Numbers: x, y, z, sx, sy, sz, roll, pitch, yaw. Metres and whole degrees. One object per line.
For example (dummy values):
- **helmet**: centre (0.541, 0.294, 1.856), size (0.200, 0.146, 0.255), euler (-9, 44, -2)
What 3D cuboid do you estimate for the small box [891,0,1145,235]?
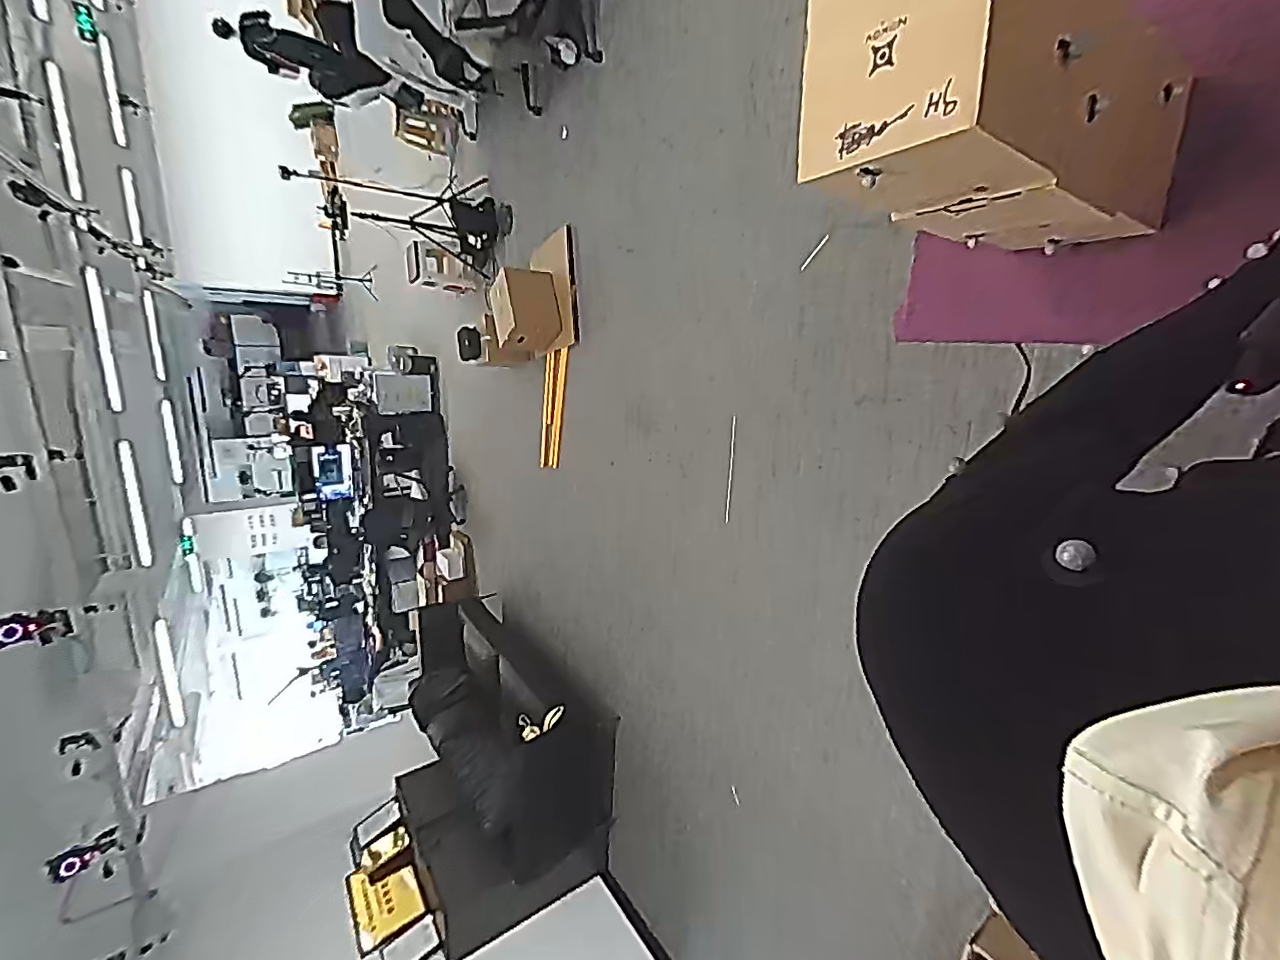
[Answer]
- **small box**: centre (0.405, -0.377, 0.587), size (0.168, 0.176, 0.179), euler (18, 110, 53)

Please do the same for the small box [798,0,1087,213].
- **small box**: centre (0.271, -0.367, 0.493), size (0.168, 0.176, 0.179), euler (18, 110, 54)

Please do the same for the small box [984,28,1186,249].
- **small box**: centre (0.540, -0.402, 0.677), size (0.168, 0.176, 0.179), euler (19, 112, 53)
